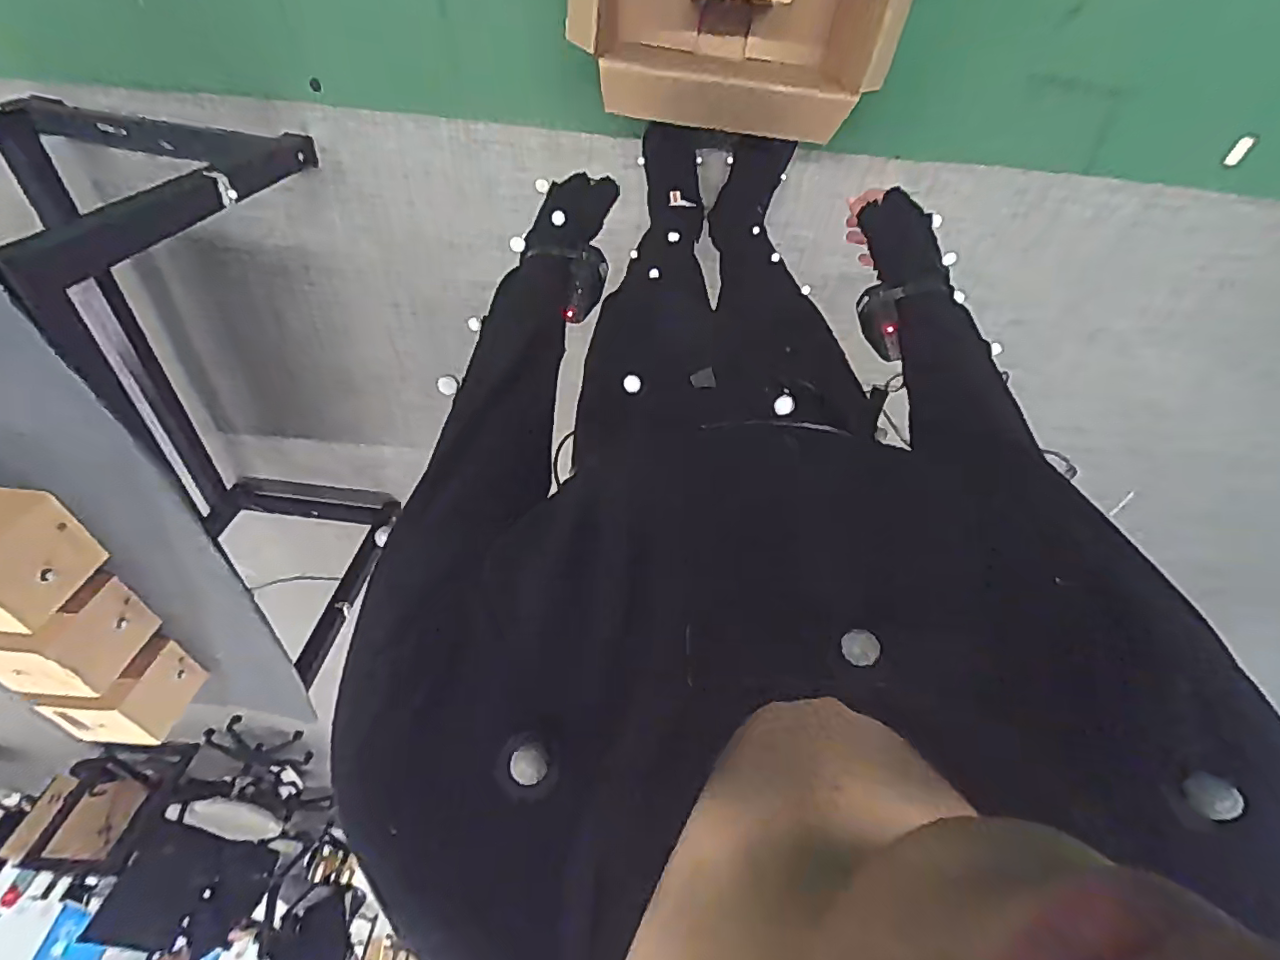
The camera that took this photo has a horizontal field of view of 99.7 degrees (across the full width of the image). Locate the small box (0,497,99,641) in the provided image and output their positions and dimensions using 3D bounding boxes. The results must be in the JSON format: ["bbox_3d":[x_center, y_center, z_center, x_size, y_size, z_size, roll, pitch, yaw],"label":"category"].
[{"bbox_3d":[-1.044,0.136,0.870,0.179,0.176,0.168,5,132,1],"label":"small box"}]

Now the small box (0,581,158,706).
[{"bbox_3d":[-1.086,0.300,1.017,0.179,0.176,0.168,4,132,1],"label":"small box"}]
